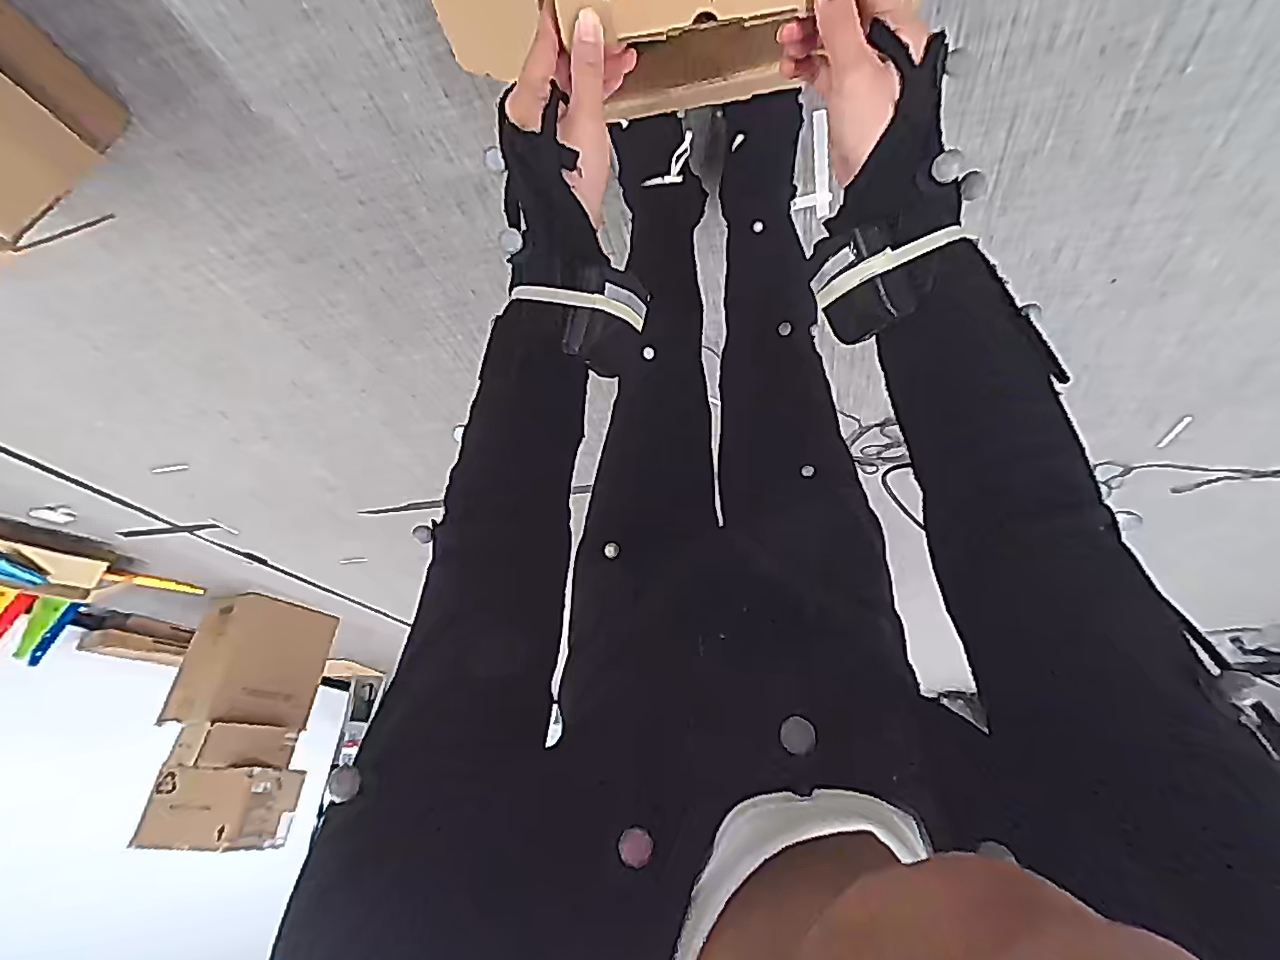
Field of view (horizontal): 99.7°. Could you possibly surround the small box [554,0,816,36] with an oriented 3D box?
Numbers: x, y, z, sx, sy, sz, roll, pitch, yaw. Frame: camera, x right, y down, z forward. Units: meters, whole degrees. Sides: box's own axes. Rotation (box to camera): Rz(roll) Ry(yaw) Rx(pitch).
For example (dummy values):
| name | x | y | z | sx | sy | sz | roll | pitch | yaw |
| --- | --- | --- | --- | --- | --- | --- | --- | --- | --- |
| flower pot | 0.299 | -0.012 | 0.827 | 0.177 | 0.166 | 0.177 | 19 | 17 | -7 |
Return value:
| name | x | y | z | sx | sy | sz | roll | pitch | yaw |
| --- | --- | --- | --- | --- | --- | --- | --- | --- | --- |
| small box | 0.026 | -0.378 | 0.285 | 0.168 | 0.176 | 0.179 | -4 | 143 | 7 |
